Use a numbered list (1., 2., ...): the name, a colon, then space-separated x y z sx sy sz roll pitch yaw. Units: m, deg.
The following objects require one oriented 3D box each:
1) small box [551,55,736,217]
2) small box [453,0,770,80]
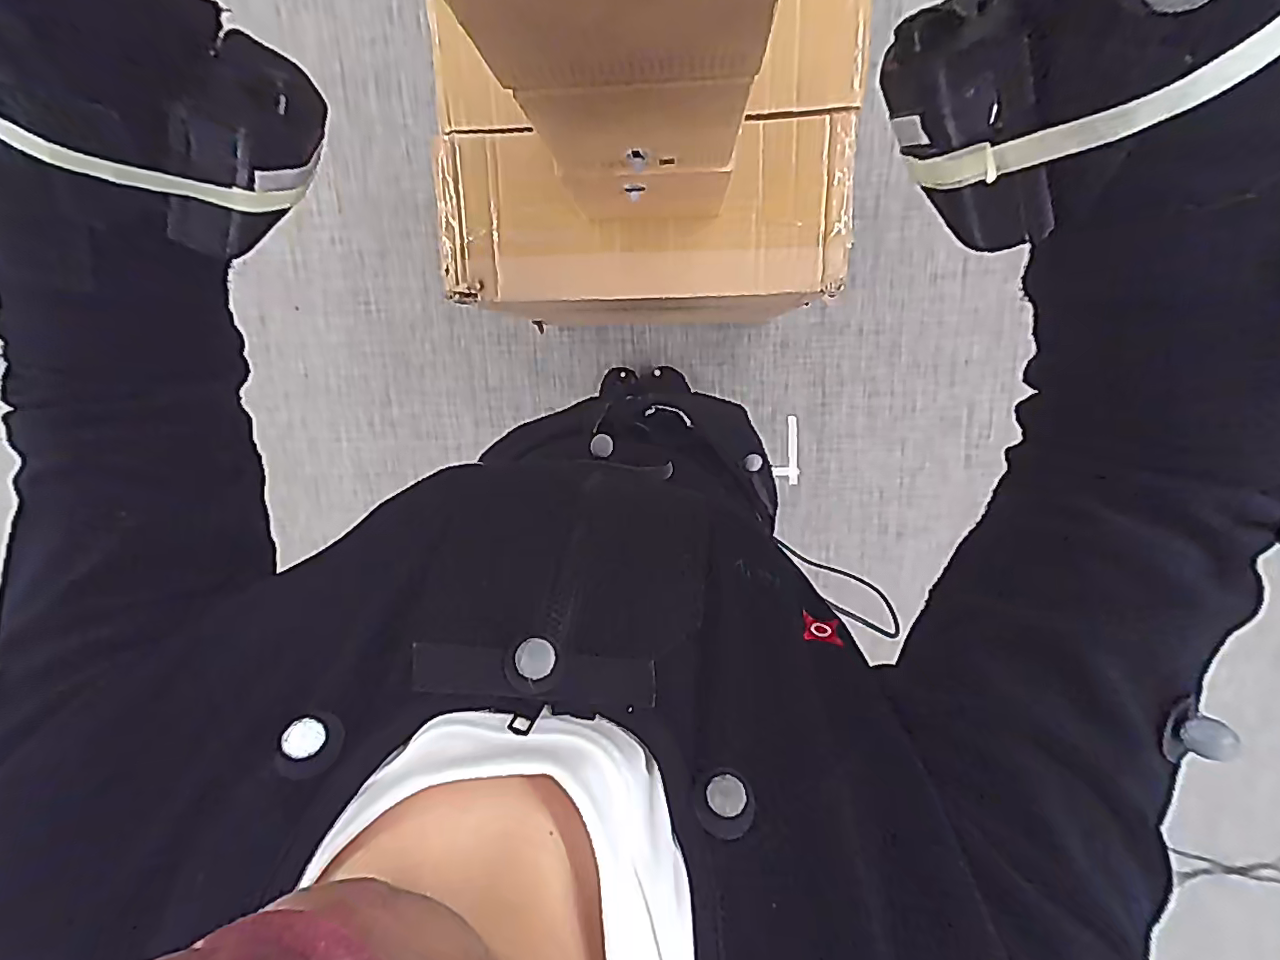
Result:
1. small box: 0.008 -0.393 0.584 0.179 0.176 0.168 0 103 4
2. small box: -0.014 -0.328 0.262 0.179 0.176 0.168 0 103 4
